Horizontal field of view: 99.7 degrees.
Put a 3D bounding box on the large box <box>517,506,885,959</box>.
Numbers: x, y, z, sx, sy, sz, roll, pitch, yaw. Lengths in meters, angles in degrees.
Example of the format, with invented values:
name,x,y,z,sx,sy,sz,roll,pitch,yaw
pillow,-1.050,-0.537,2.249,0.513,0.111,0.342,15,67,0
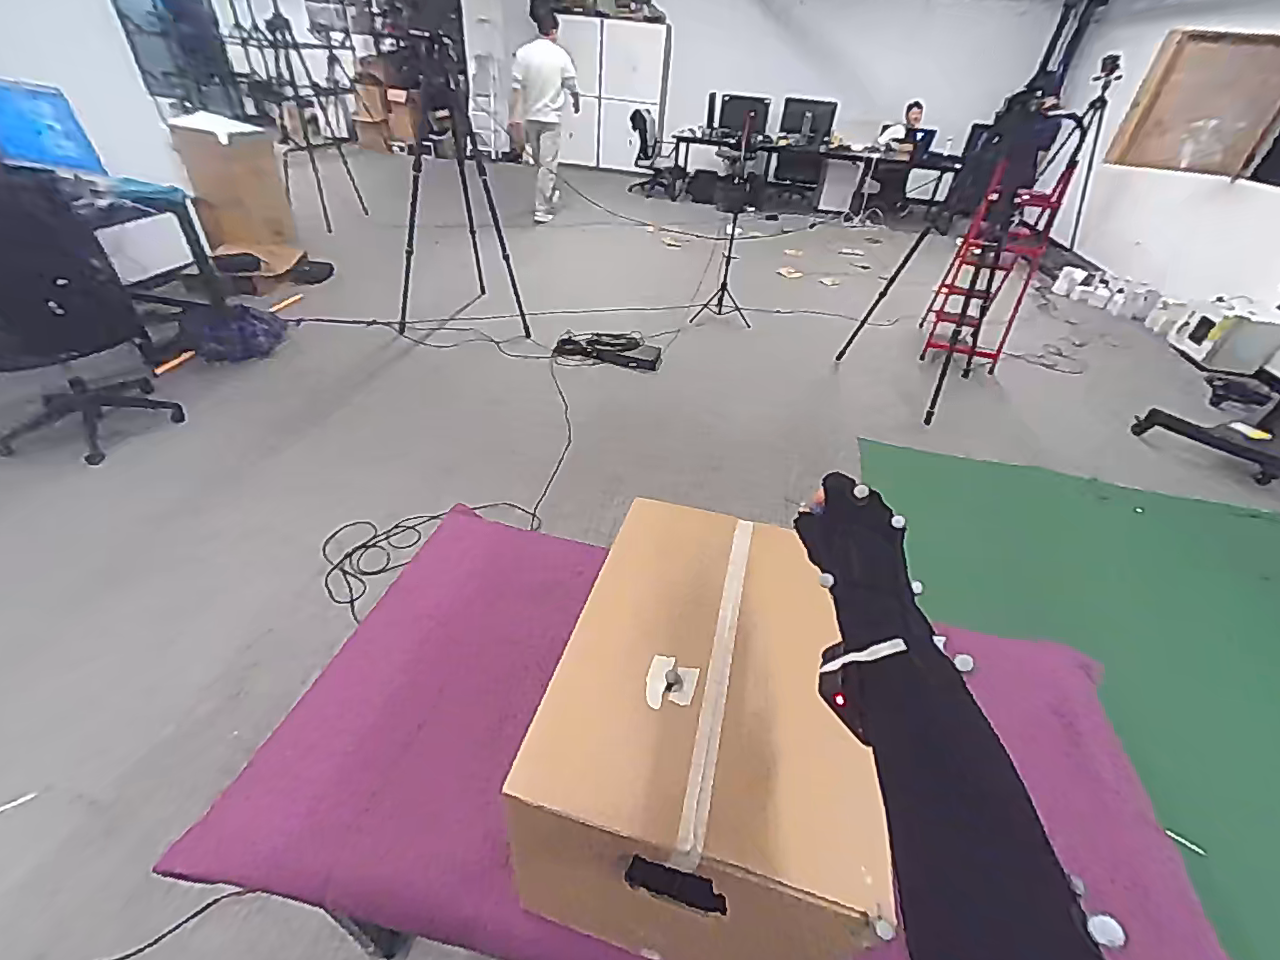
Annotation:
name,x,y,z,sx,sy,sz,roll,pitch,yaw
large box,0.075,0.301,0.676,0.320,0.320,0.408,13,39,9
